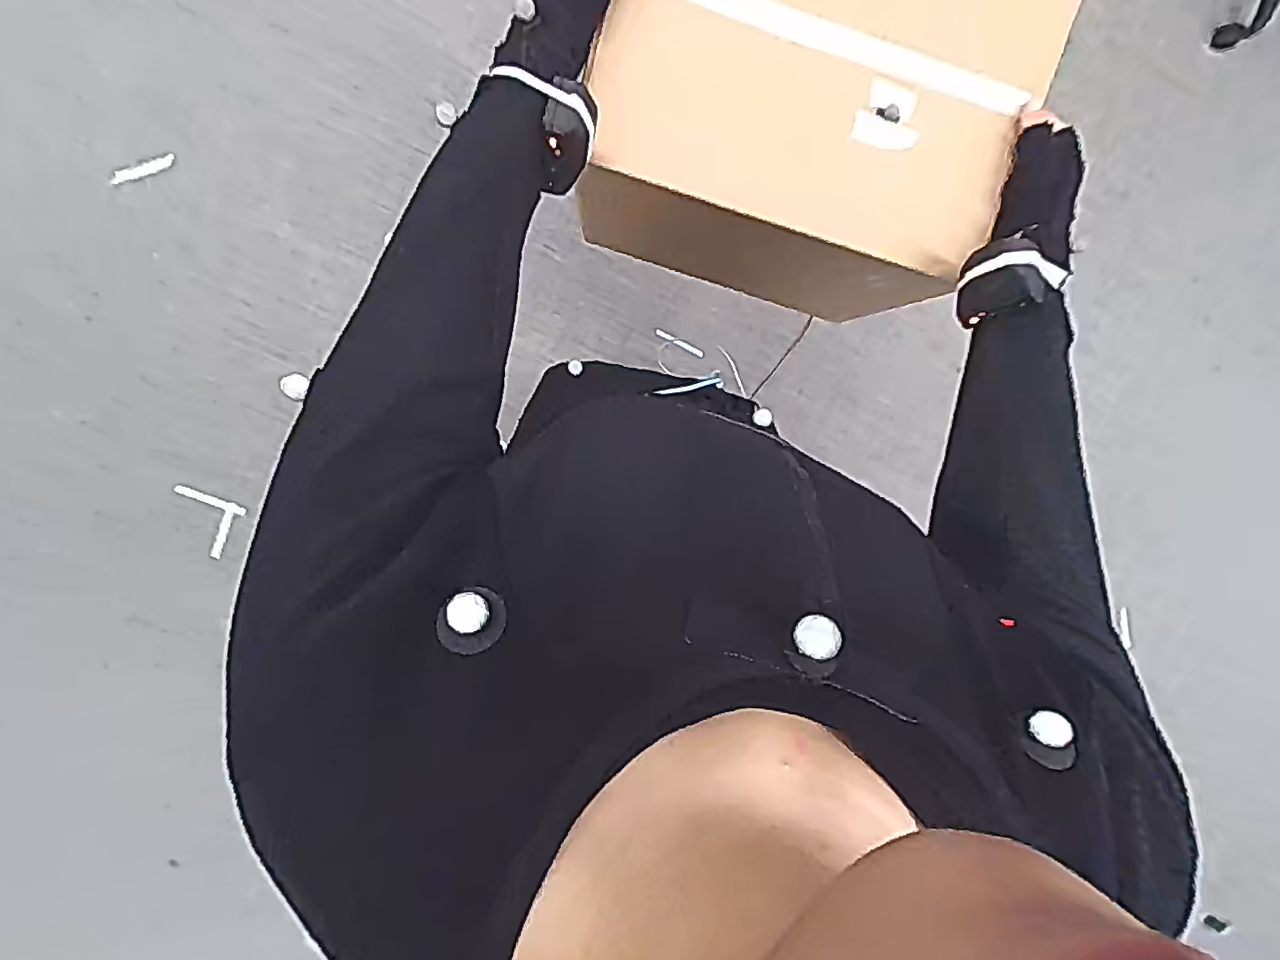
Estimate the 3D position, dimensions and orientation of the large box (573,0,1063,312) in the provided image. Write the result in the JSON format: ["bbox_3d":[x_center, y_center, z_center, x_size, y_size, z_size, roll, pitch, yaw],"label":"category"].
[{"bbox_3d":[0.157,-0.419,0.634,0.408,0.320,0.320,15,100,-6],"label":"large box"}]
